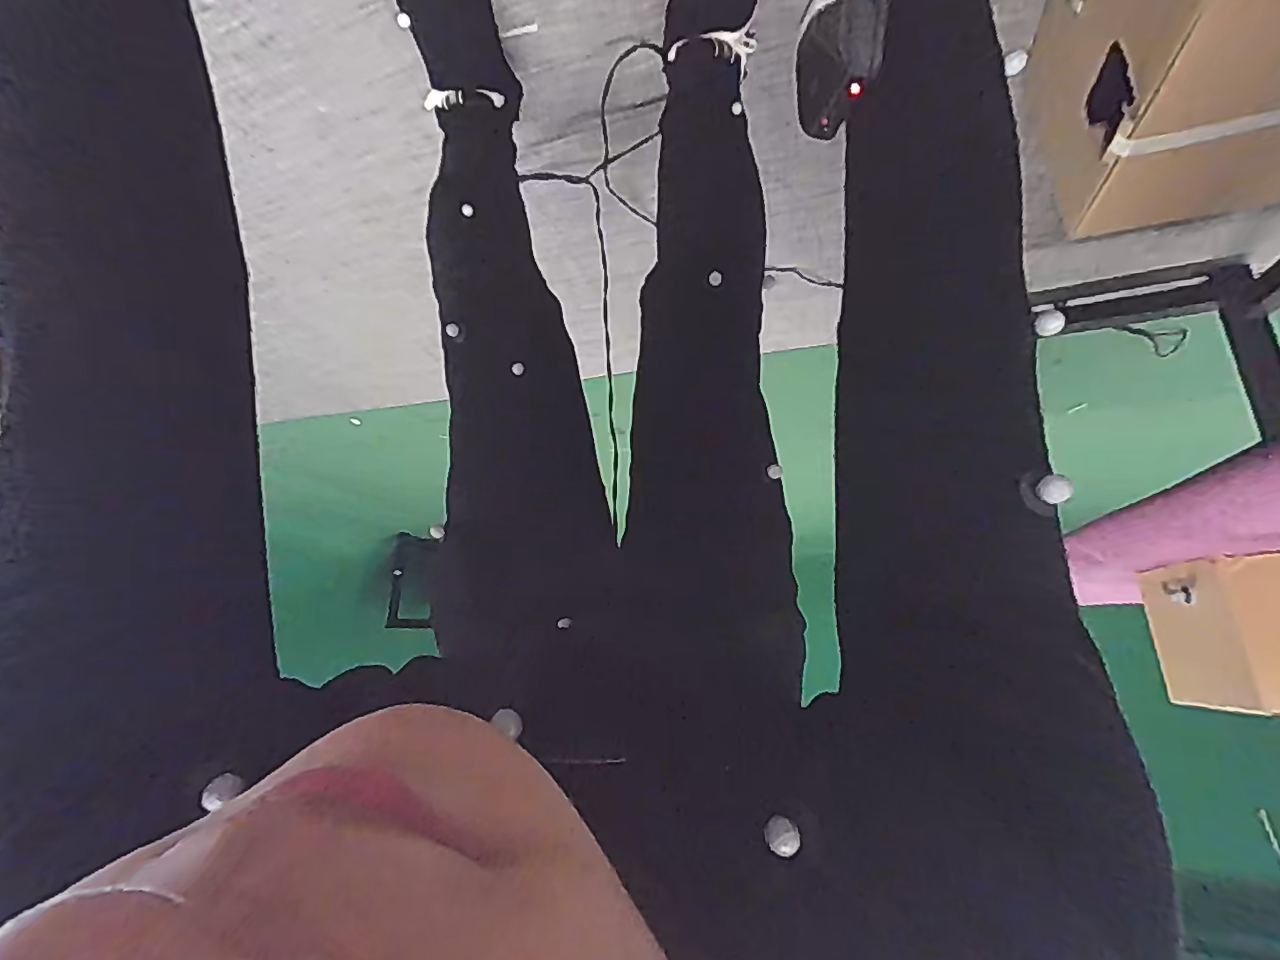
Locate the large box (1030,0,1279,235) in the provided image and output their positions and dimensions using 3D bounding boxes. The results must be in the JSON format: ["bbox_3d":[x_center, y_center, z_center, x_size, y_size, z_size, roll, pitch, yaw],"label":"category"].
[{"bbox_3d":[0.709,-0.528,0.561,0.408,0.320,0.320,-6,162,18],"label":"large box"}]

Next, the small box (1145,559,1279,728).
[{"bbox_3d":[0.732,0.180,0.607,0.179,0.176,0.168,-5,161,17],"label":"small box"}]
